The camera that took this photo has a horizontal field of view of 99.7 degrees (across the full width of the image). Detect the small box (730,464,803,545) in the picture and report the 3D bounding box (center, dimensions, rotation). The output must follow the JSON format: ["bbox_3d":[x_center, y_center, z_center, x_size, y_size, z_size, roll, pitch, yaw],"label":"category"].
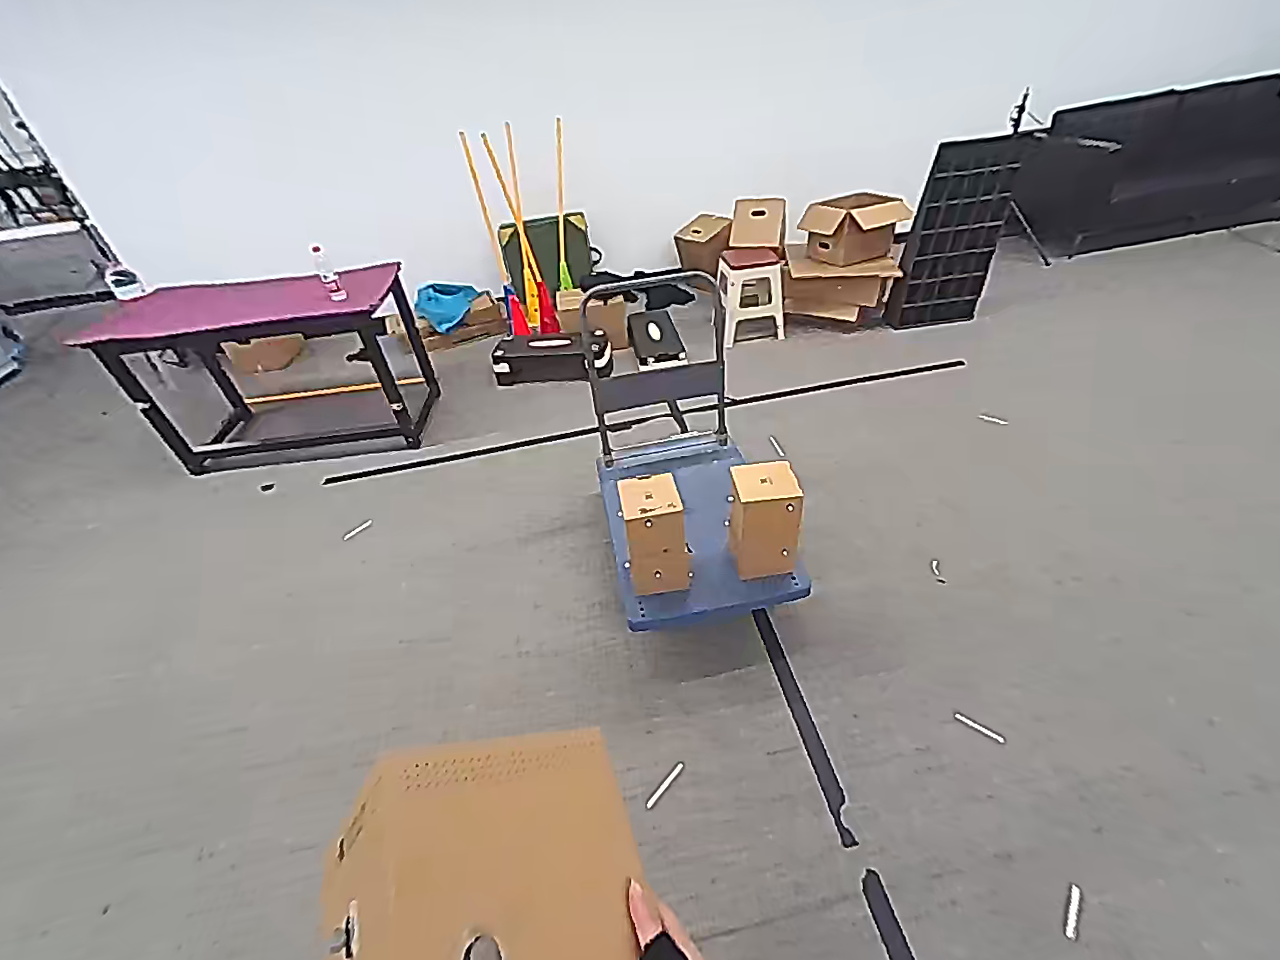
[{"bbox_3d":[0.363,0.076,1.582,0.179,0.176,0.168,-5,39,0],"label":"small box"}]

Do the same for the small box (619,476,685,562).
[{"bbox_3d":[0.035,0.114,1.576,0.168,0.176,0.179,-9,38,-3],"label":"small box"}]

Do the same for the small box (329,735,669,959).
[{"bbox_3d":[-0.114,0.310,0.393,0.179,0.168,0.176,13,35,-36],"label":"small box"}]

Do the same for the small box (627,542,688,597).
[{"bbox_3d":[0.054,0.241,1.679,0.179,0.176,0.168,-8,39,-1],"label":"small box"}]
